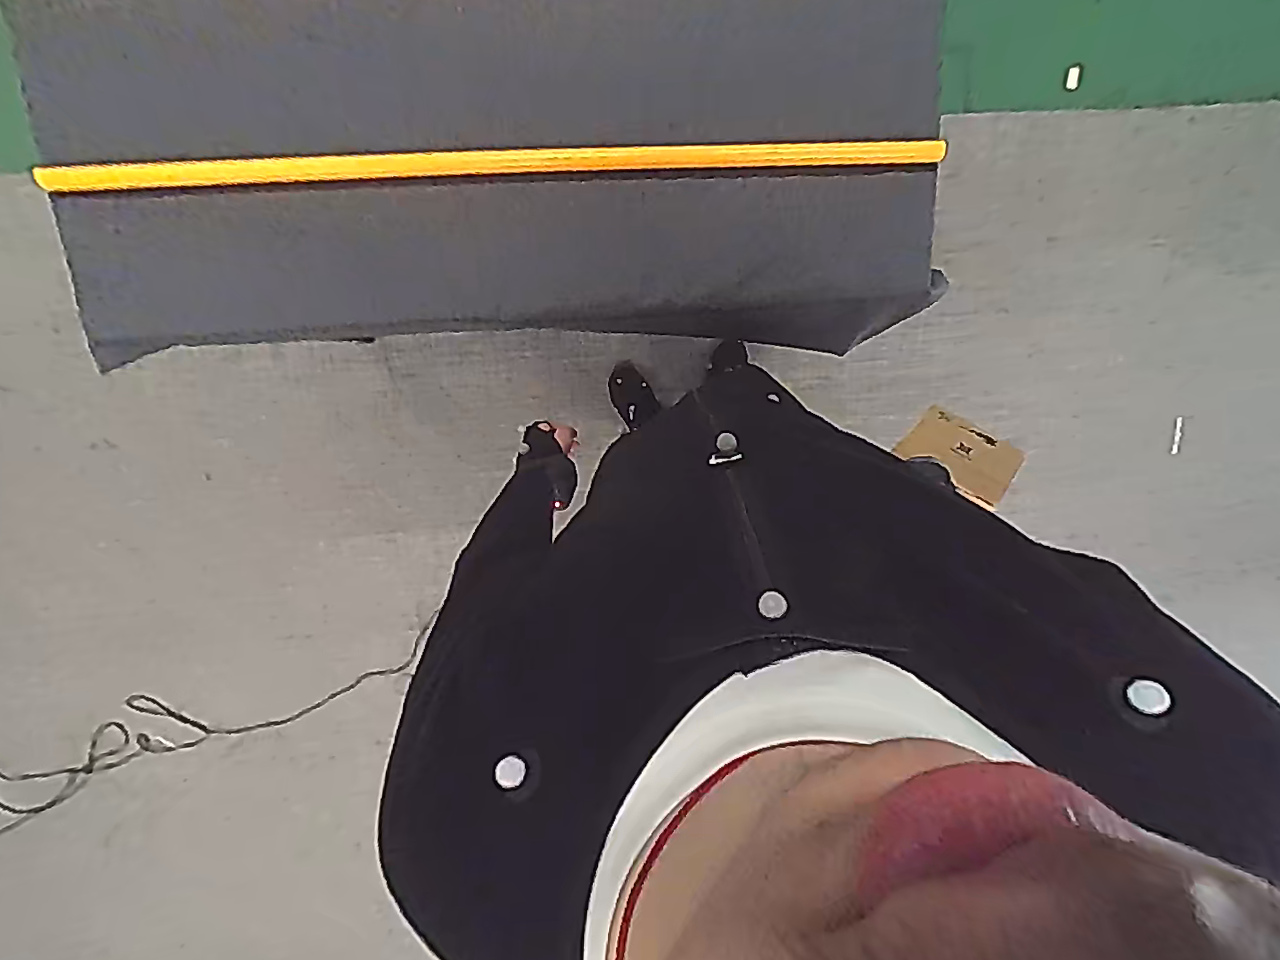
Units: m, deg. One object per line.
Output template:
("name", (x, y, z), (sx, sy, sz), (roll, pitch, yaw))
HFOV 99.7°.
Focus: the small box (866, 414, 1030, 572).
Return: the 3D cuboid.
("small box", (0.511, 0.023, 0.919), (0.168, 0.179, 0.176), (34, 141, 24))
